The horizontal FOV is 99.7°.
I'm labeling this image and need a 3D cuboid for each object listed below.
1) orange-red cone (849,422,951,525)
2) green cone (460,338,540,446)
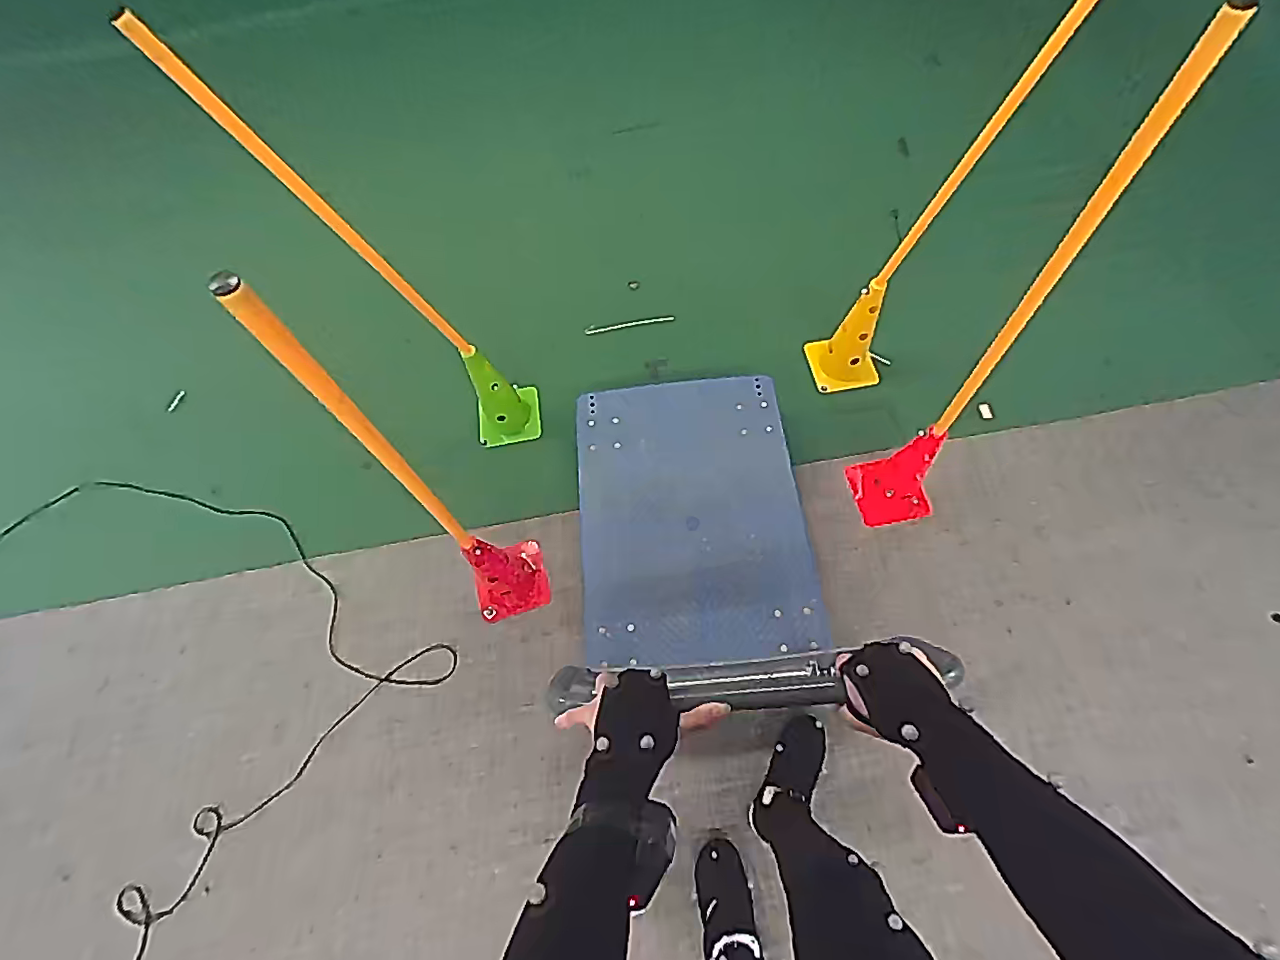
[{"bbox_3d":[0.708,-0.044,1.403,0.198,0.360,0.199,-10,64,-1],"label":"orange-red cone"},{"bbox_3d":[-0.441,-0.283,1.598,0.200,0.368,0.202,-11,64,0],"label":"green cone"}]
